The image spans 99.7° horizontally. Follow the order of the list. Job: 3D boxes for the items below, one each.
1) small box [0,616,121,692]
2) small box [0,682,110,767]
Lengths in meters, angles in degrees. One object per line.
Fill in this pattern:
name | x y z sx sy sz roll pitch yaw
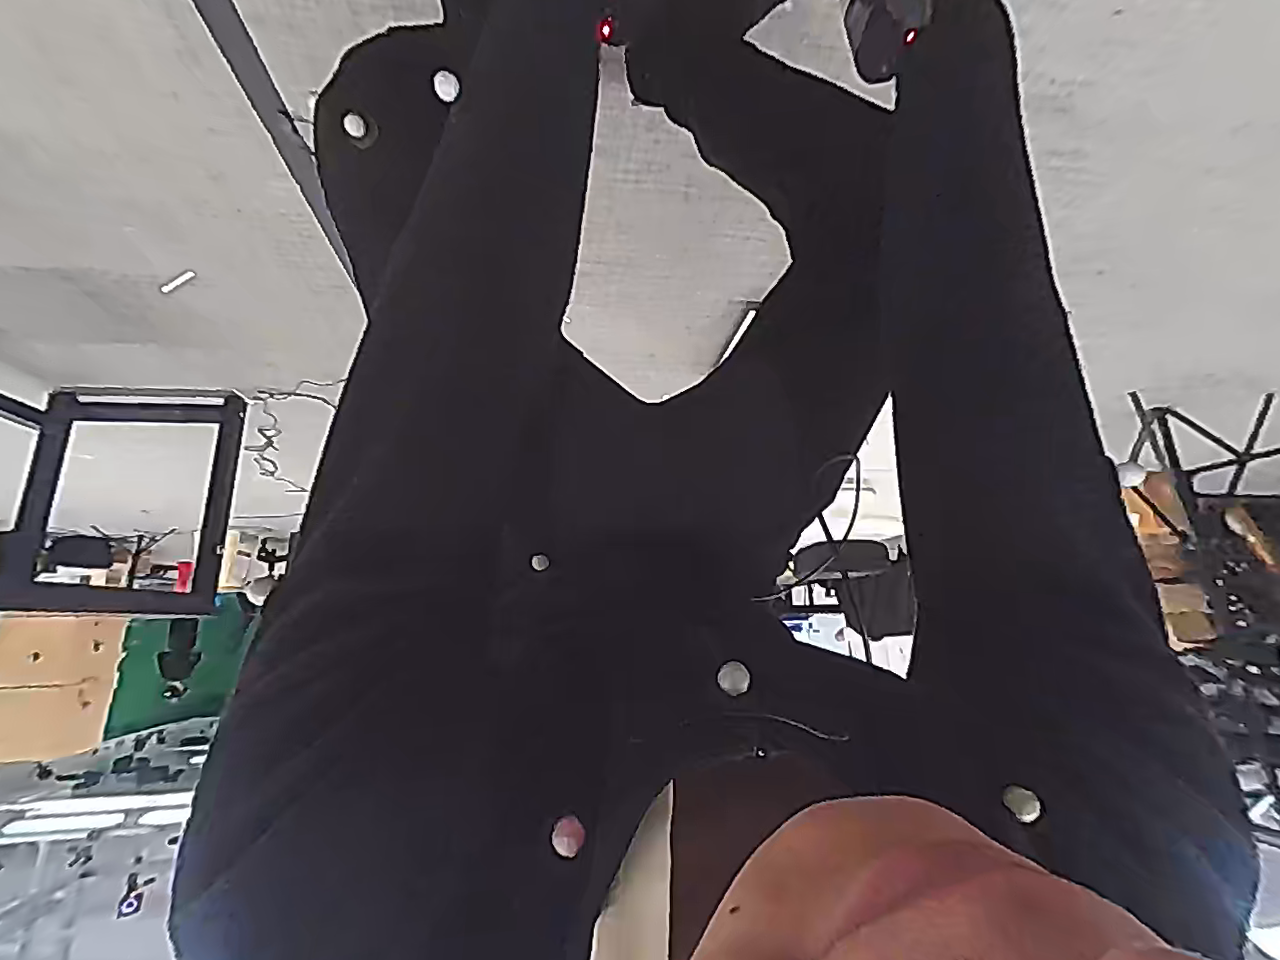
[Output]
small box | -1.480 0.436 1.377 0.179 0.176 0.168 -1 165 -7
small box | -1.477 0.596 1.334 0.179 0.176 0.168 0 166 -8
